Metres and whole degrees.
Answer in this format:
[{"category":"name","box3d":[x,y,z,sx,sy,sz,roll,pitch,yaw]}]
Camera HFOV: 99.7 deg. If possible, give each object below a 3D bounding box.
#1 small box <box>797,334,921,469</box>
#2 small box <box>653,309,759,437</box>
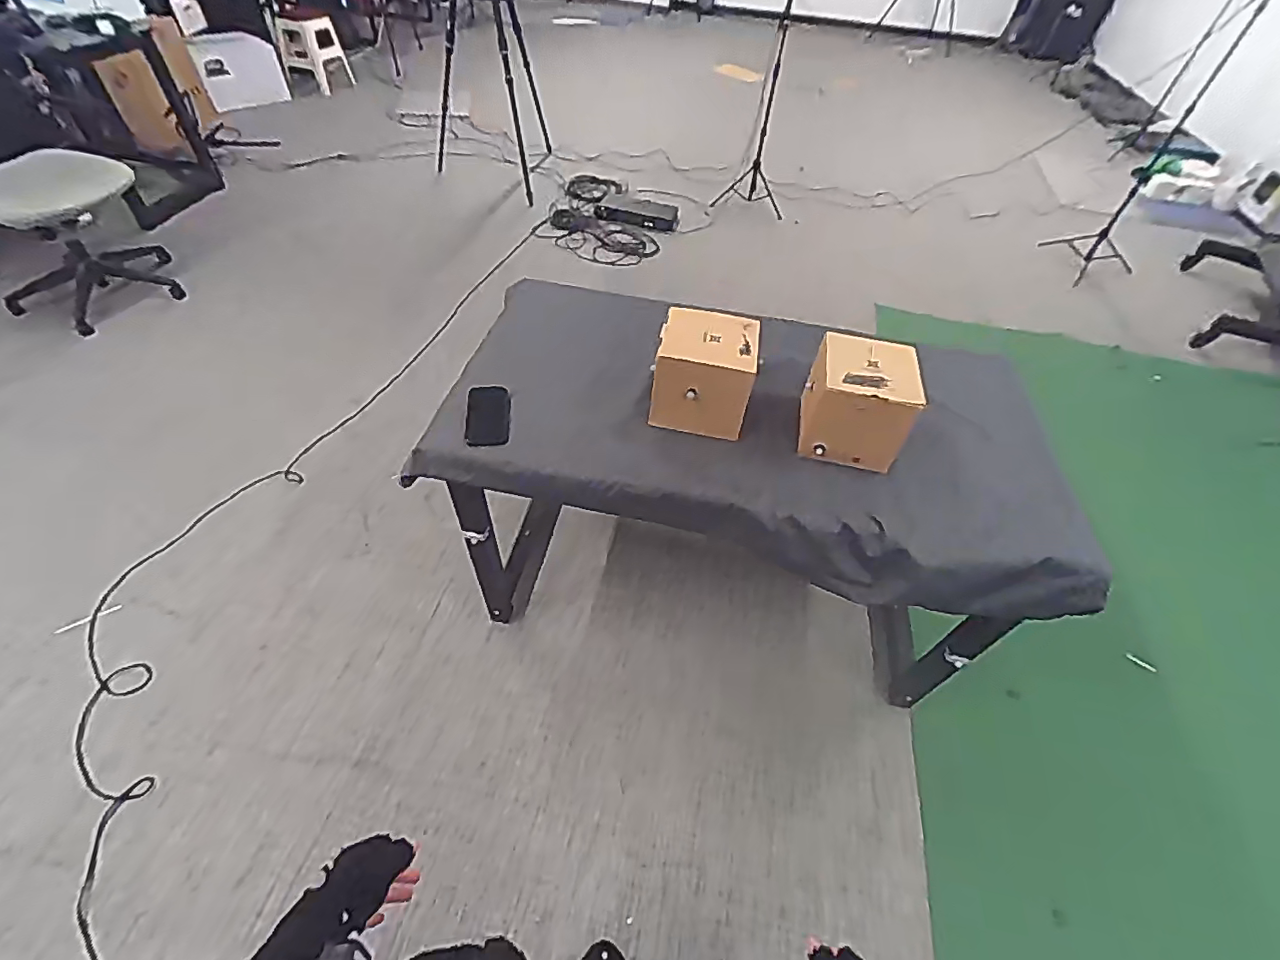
[{"category":"small box","box3d":[0.403,-0.145,1.021,0.168,0.176,0.179,13,49,5]},{"category":"small box","box3d":[0.124,-0.204,1.046,0.179,0.176,0.168,10,50,4]}]
